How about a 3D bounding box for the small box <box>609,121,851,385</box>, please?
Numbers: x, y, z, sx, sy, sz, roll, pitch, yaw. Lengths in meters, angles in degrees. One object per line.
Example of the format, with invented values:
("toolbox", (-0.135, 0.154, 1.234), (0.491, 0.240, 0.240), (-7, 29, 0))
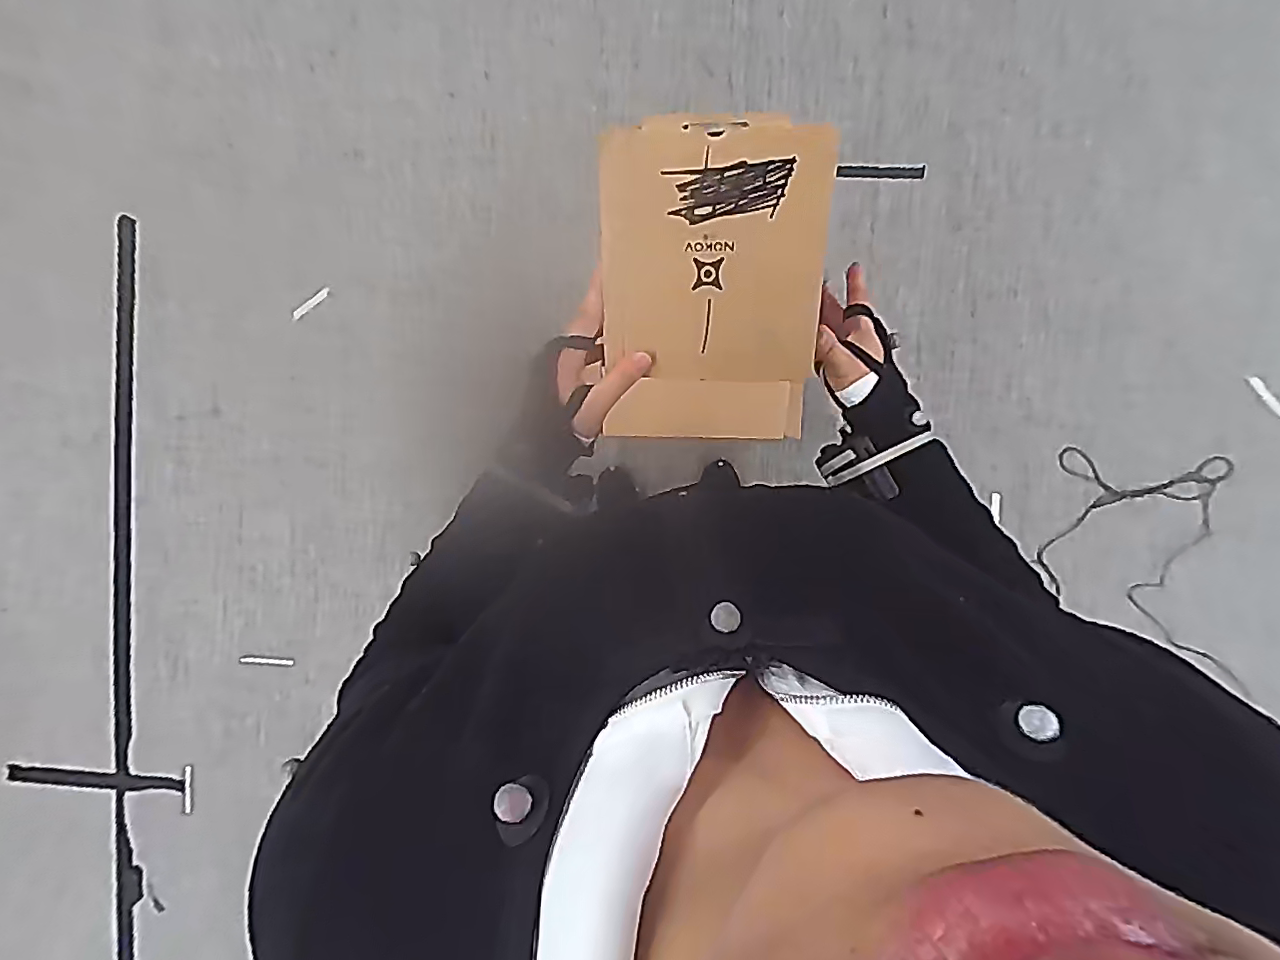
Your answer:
("small box", (0.069, -0.184, 0.468), (0.168, 0.176, 0.179), (3, 109, 8))
